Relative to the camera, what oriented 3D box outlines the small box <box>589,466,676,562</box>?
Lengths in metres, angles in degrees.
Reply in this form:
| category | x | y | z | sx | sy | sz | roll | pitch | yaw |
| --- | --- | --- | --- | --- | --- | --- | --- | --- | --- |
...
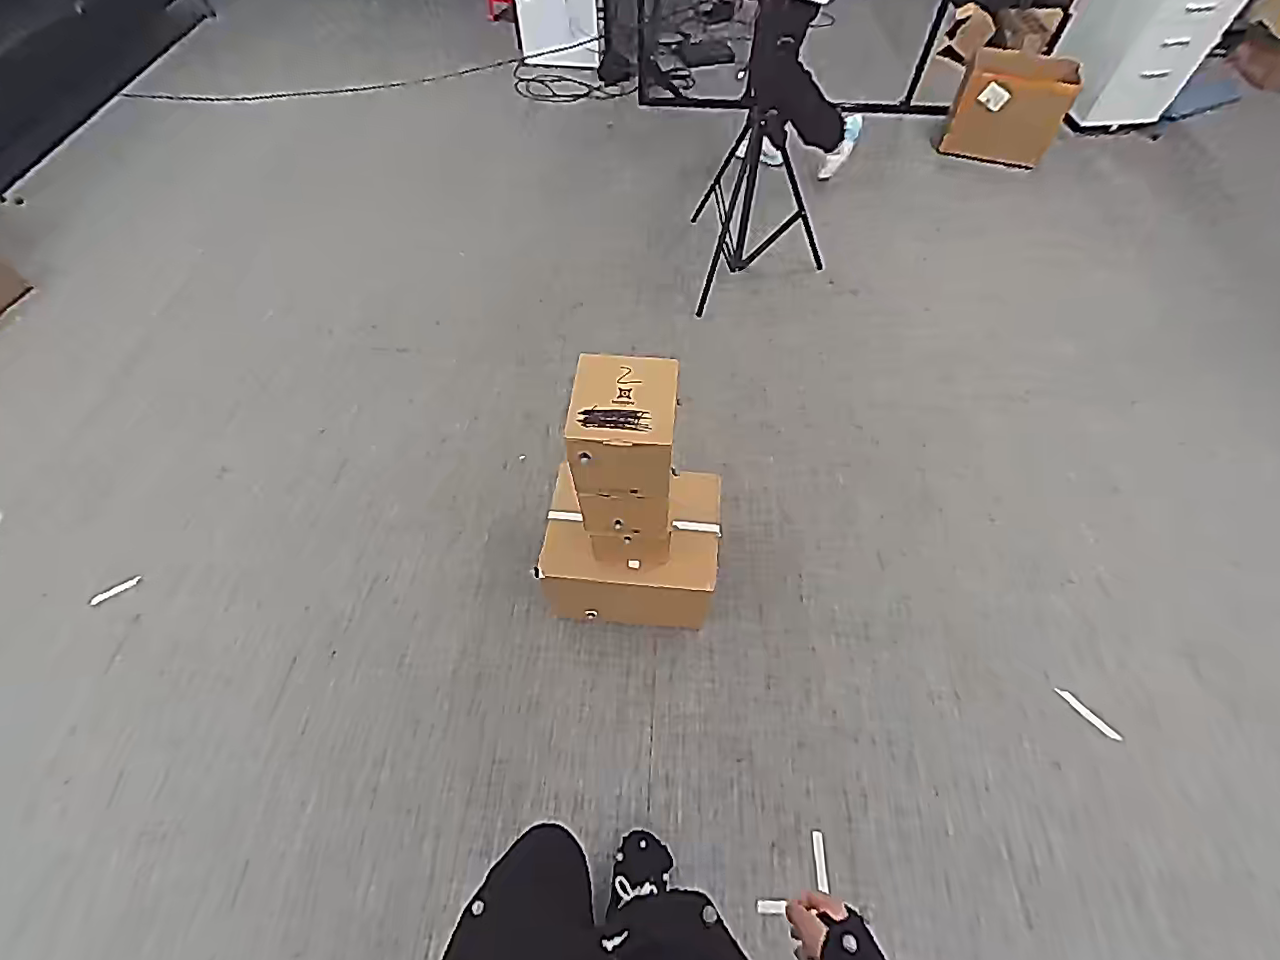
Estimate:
| category | x | y | z | sx | sy | sz | roll | pitch | yaw |
| --- | --- | --- | --- | --- | --- | --- | --- | --- | --- |
| small box | -0.013 | 0.076 | 1.205 | 0.179 | 0.176 | 0.168 | 3 | 60 | 1 |

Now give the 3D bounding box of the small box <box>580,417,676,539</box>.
| category | x | y | z | sx | sy | sz | roll | pitch | yaw |
| --- | --- | --- | --- | --- | --- | --- | --- | --- | --- |
| small box | -0.019 | -0.001 | 1.061 | 0.168 | 0.176 | 0.179 | 3 | 60 | 3 |
